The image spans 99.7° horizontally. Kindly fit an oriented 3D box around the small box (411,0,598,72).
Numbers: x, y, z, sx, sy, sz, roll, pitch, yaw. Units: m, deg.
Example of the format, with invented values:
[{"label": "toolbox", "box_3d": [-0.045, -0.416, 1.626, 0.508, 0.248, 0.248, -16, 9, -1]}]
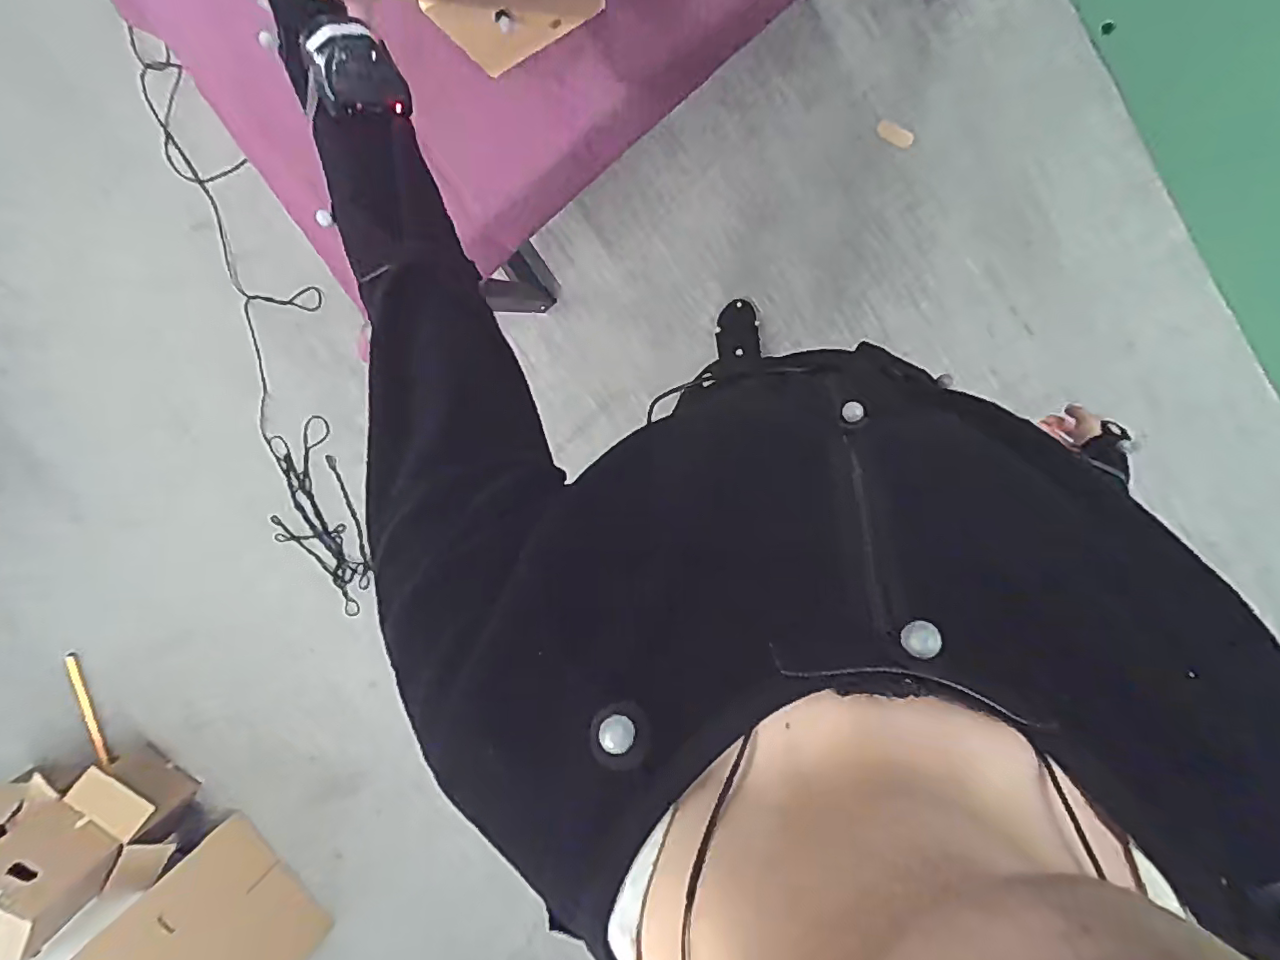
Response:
[{"label": "small box", "box_3d": [-0.164, -0.588, 0.584, 0.168, 0.176, 0.179, -19, 100, 16]}]
